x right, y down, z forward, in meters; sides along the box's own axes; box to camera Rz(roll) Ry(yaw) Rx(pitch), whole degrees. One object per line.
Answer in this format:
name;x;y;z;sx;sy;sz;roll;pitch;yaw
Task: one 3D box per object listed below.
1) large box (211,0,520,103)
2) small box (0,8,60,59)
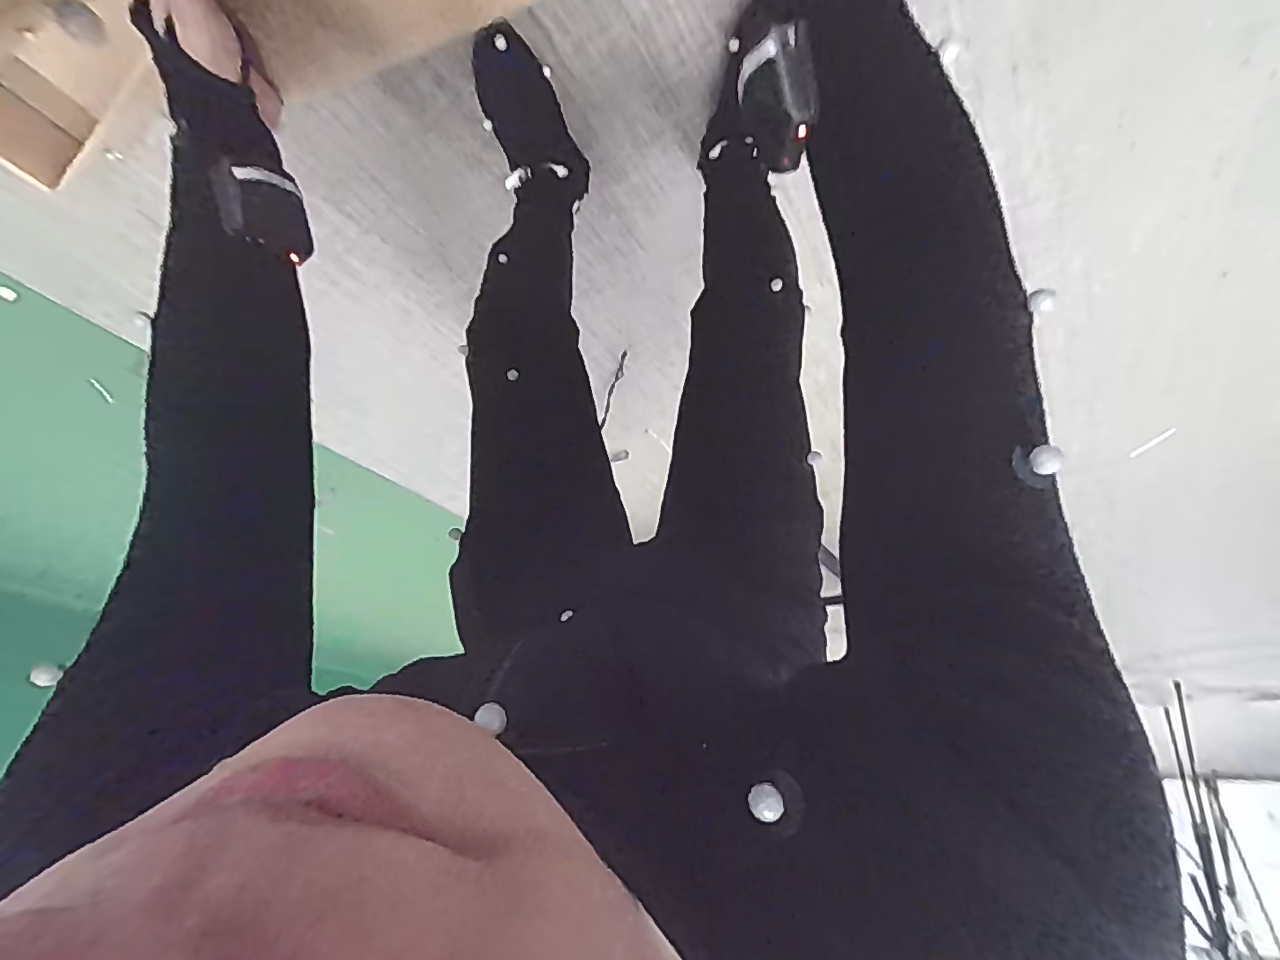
large box;-0.152;-0.552;0.366;0.408;0.320;0.320;-8;146;18
small box;-0.909;-0.672;0.696;0.168;0.176;0.179;-17;143;24
